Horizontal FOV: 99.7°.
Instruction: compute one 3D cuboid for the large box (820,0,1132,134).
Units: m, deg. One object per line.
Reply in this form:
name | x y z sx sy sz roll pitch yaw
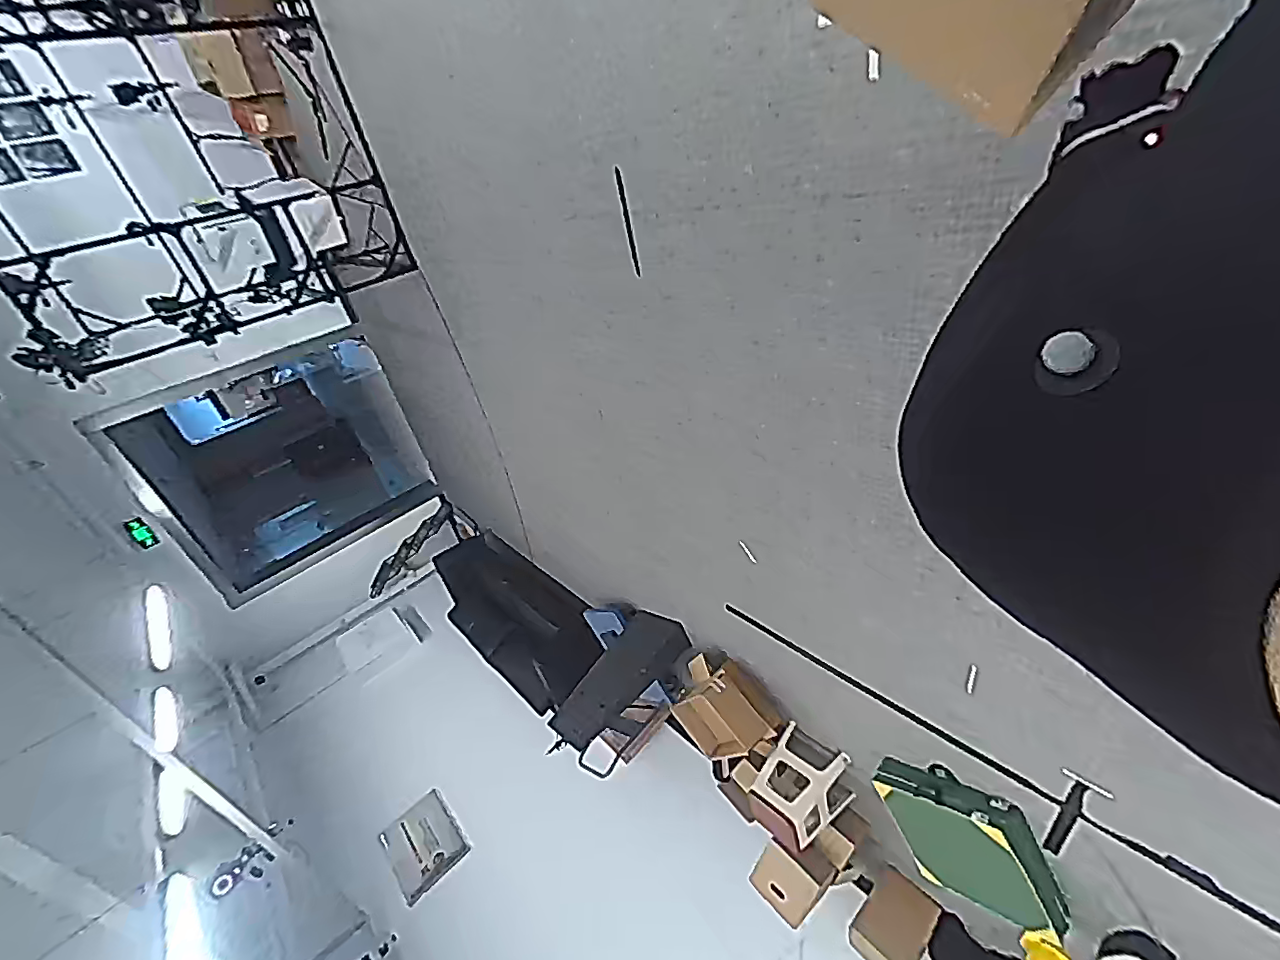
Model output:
large box | 0.346 -0.582 0.454 0.320 0.408 0.320 43 118 8
